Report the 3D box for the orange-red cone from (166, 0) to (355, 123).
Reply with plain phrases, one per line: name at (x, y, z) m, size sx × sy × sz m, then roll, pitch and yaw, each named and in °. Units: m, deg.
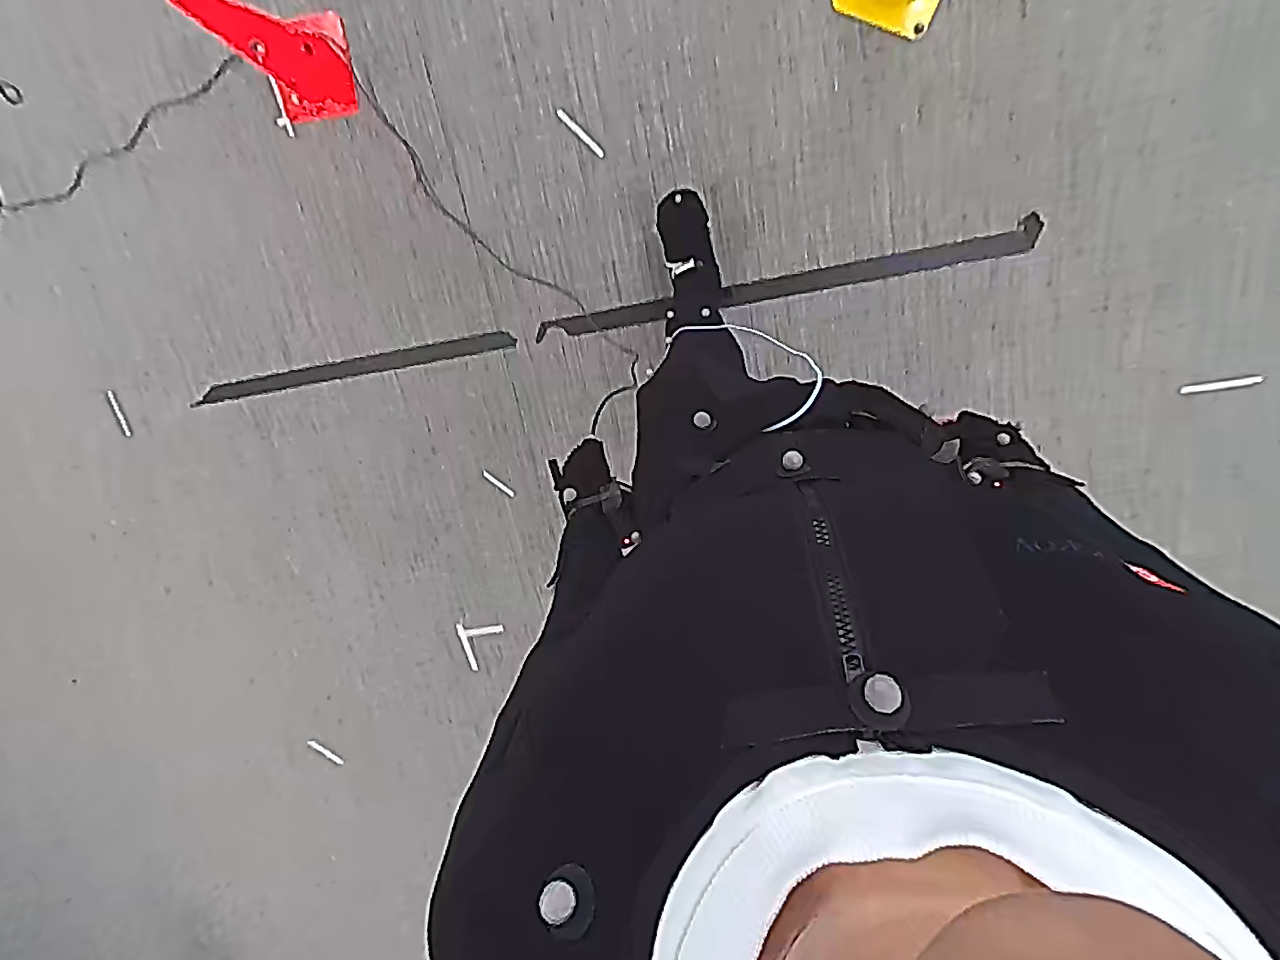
orange-red cone at (-0.798, -0.910, 1.113) m, size 0.199 × 0.360 × 0.198 m, roll -1°, pitch 108°, yaw 8°
